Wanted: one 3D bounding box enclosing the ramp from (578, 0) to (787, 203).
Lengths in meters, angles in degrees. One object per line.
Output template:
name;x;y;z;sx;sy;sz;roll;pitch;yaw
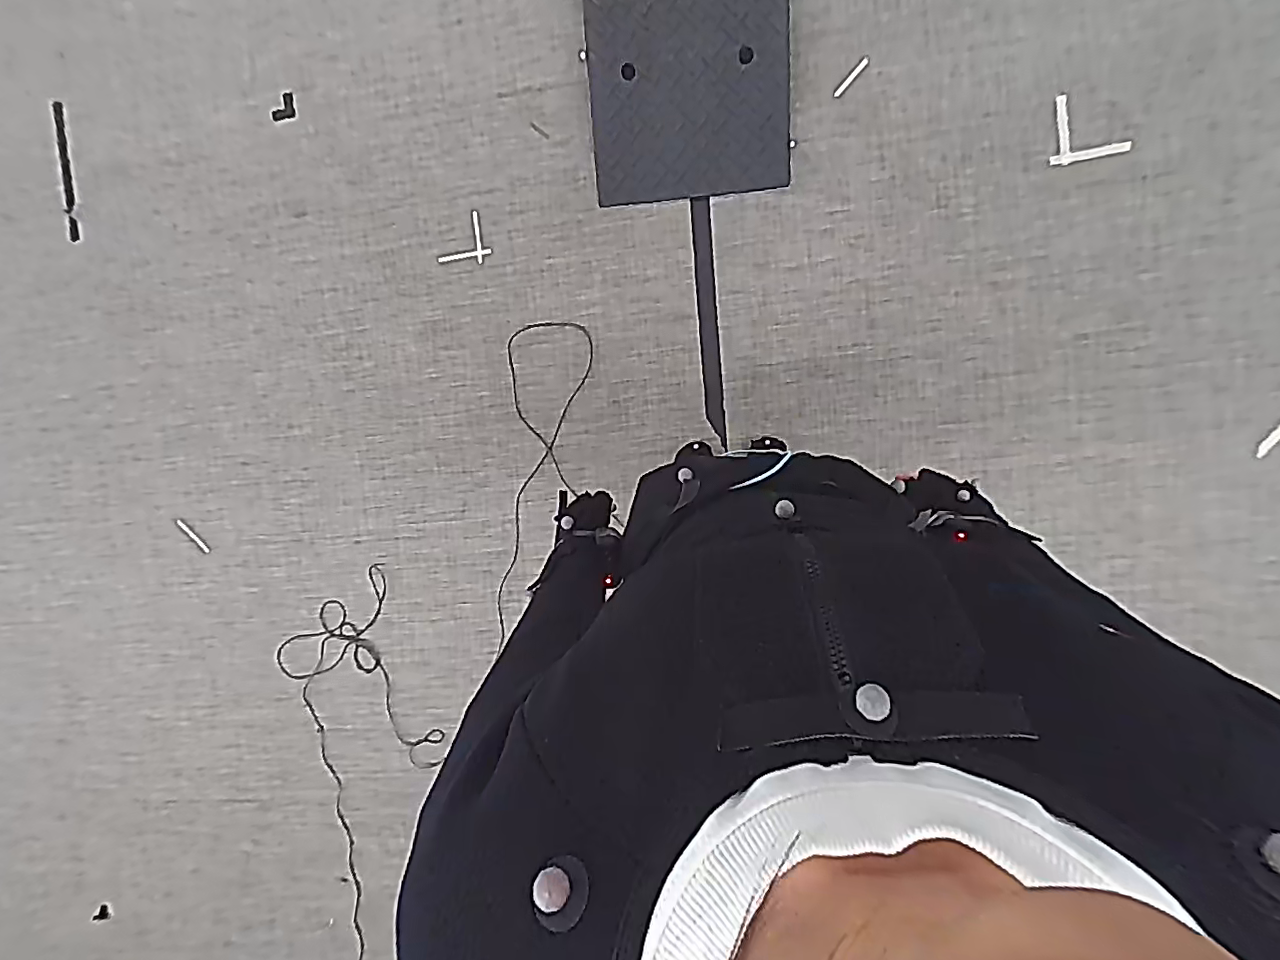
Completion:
ramp;0.090;-1.216;1.261;0.509;0.206;0.991;-4;95;6
